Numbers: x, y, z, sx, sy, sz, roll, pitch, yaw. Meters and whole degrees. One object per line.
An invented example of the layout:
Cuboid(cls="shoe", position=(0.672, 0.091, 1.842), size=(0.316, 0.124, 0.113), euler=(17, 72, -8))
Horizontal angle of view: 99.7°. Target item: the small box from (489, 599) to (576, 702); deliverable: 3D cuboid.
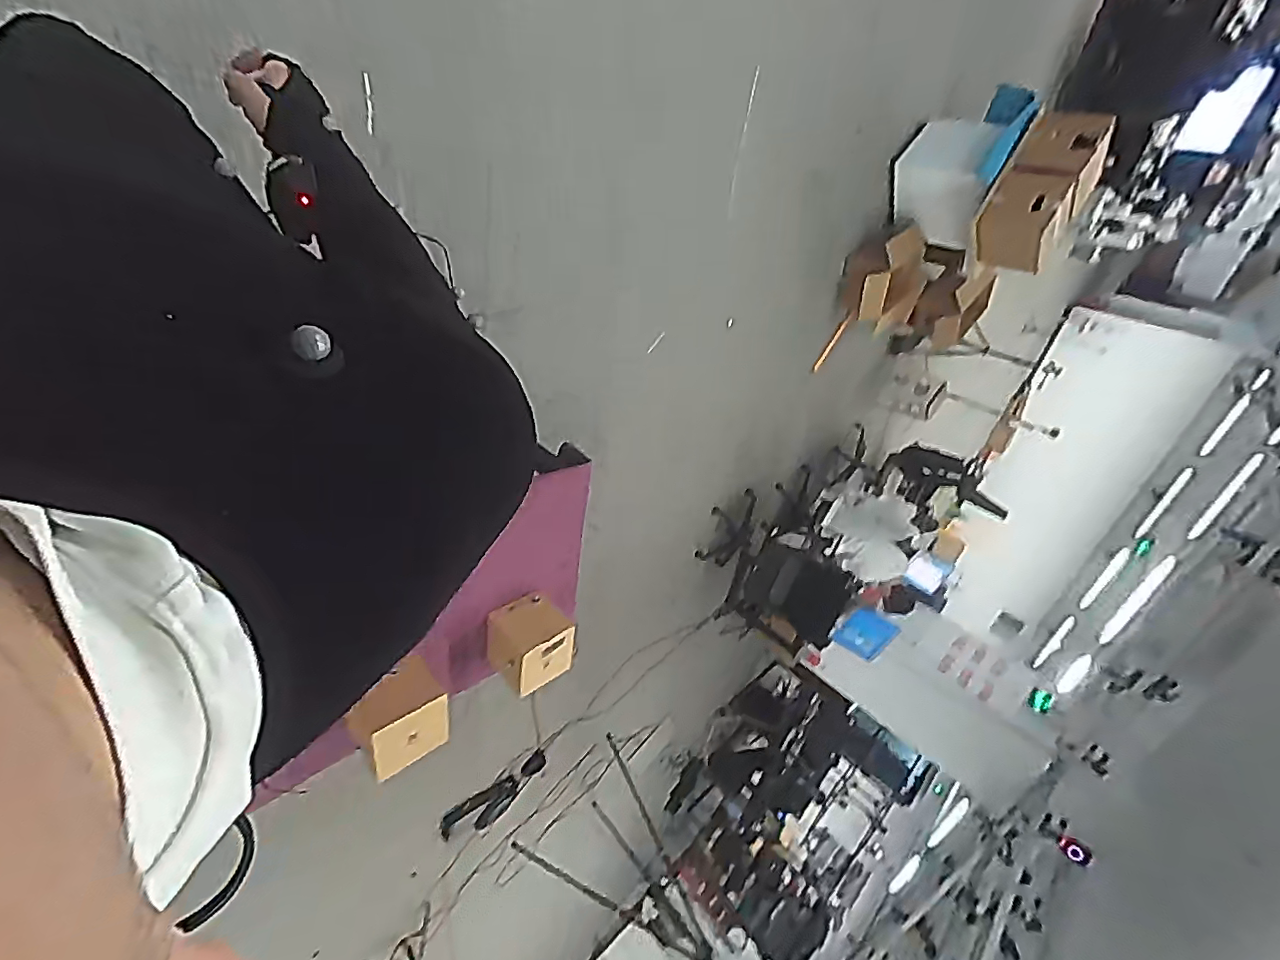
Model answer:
Cuboid(cls="small box", position=(-0.294, 0.448, 1.460), size=(0.168, 0.176, 0.179), euler=(-20, 132, -40))

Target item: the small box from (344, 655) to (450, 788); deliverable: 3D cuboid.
Cuboid(cls="small box", position=(-0.548, 0.538, 1.224), size=(0.168, 0.176, 0.179), euler=(-20, 131, -42))
